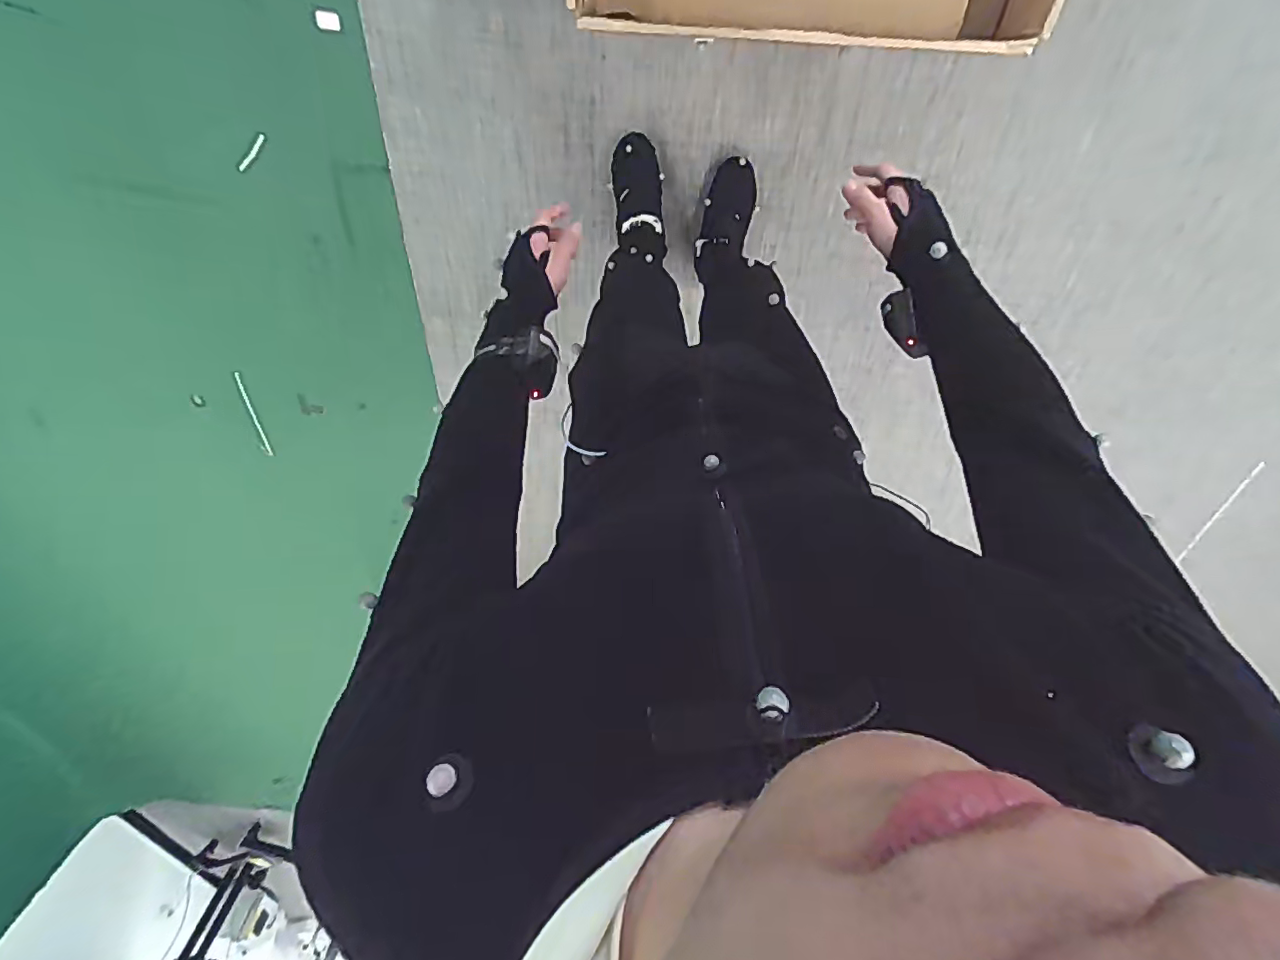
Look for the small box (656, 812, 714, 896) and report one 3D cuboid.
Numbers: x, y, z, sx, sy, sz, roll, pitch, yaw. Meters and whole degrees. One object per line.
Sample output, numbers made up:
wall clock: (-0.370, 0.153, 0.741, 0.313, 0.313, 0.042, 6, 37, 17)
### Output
small box: (0.136, 1.154, 1.671, 0.168, 0.176, 0.179, 3, 127, 4)
